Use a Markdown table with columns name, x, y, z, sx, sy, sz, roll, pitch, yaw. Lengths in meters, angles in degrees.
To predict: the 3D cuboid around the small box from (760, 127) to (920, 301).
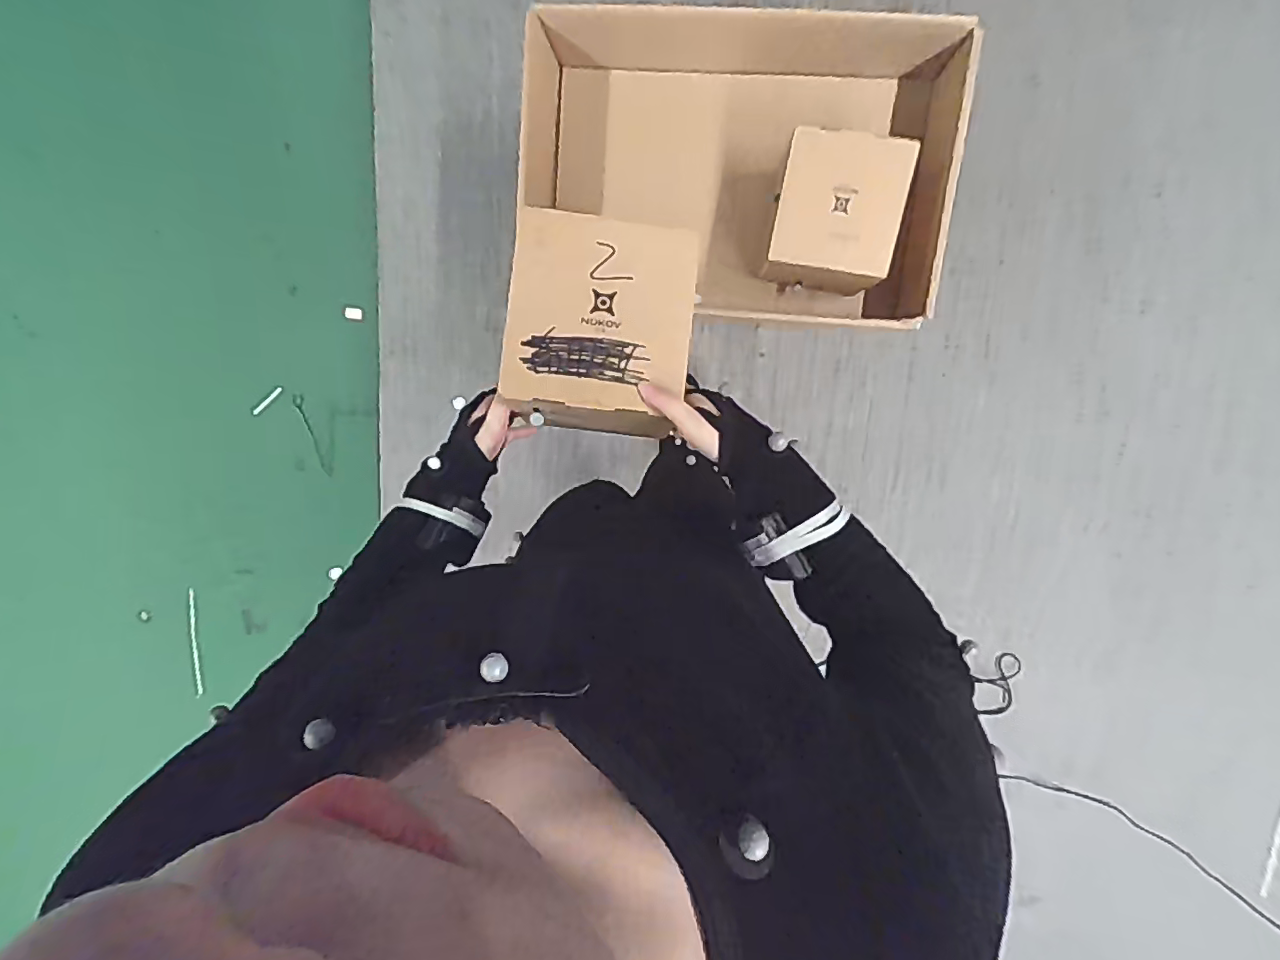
| name | x | y | z | sx | sy | sz | roll | pitch | yaw |
| --- | --- | --- | --- | --- | --- | --- | --- | --- | --- |
| small box | 0.281 | -0.382 | 0.805 | 0.168 | 0.176 | 0.179 | 12 | 101 | 6 |
